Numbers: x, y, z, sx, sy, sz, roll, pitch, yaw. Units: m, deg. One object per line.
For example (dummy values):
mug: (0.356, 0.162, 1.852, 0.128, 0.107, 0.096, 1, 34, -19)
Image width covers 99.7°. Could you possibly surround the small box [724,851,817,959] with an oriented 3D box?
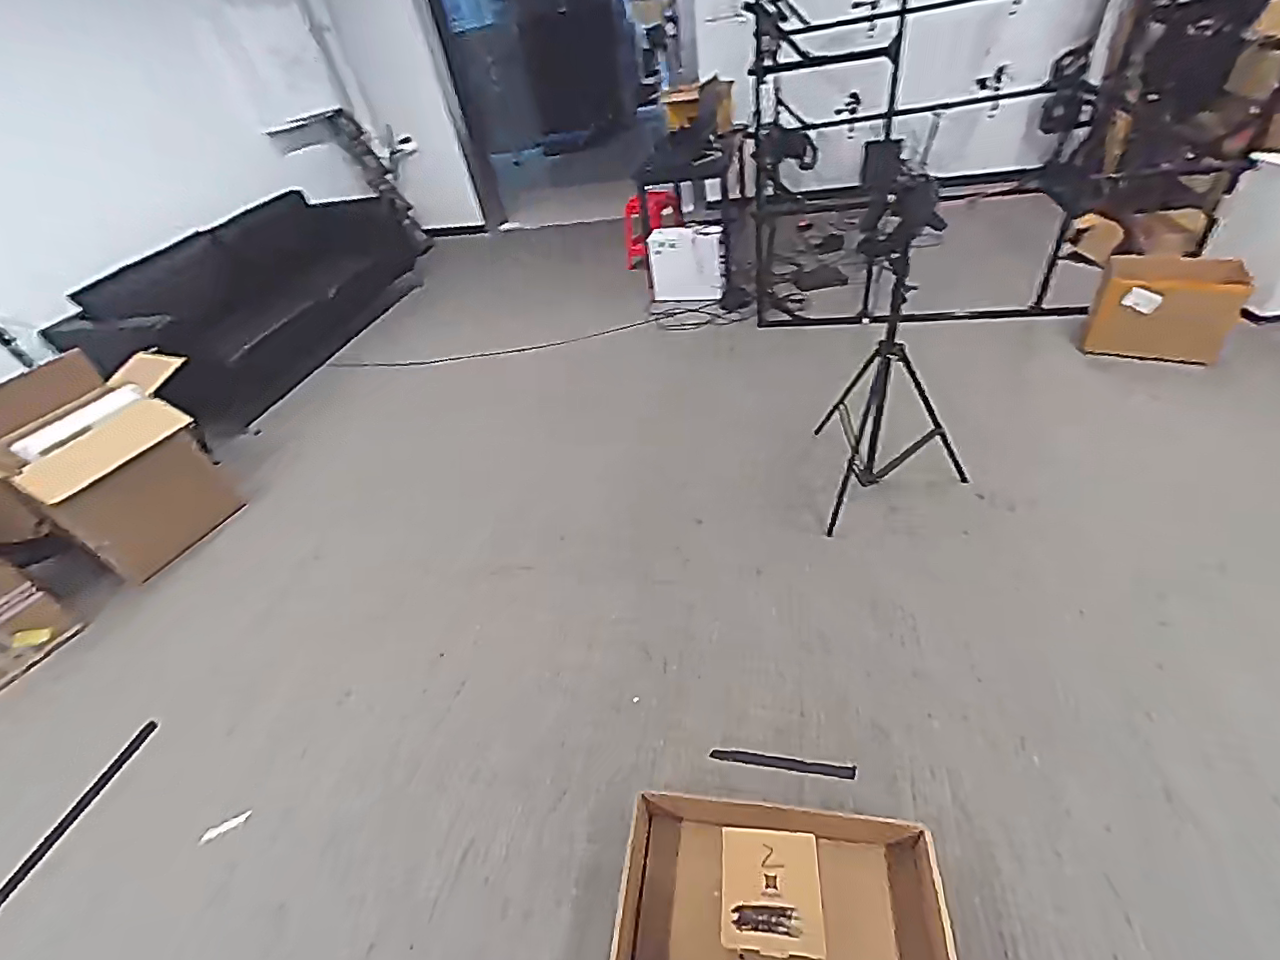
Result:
small box: (0.254, 0.872, 1.073, 0.168, 0.176, 0.179, -2, 41, 11)
